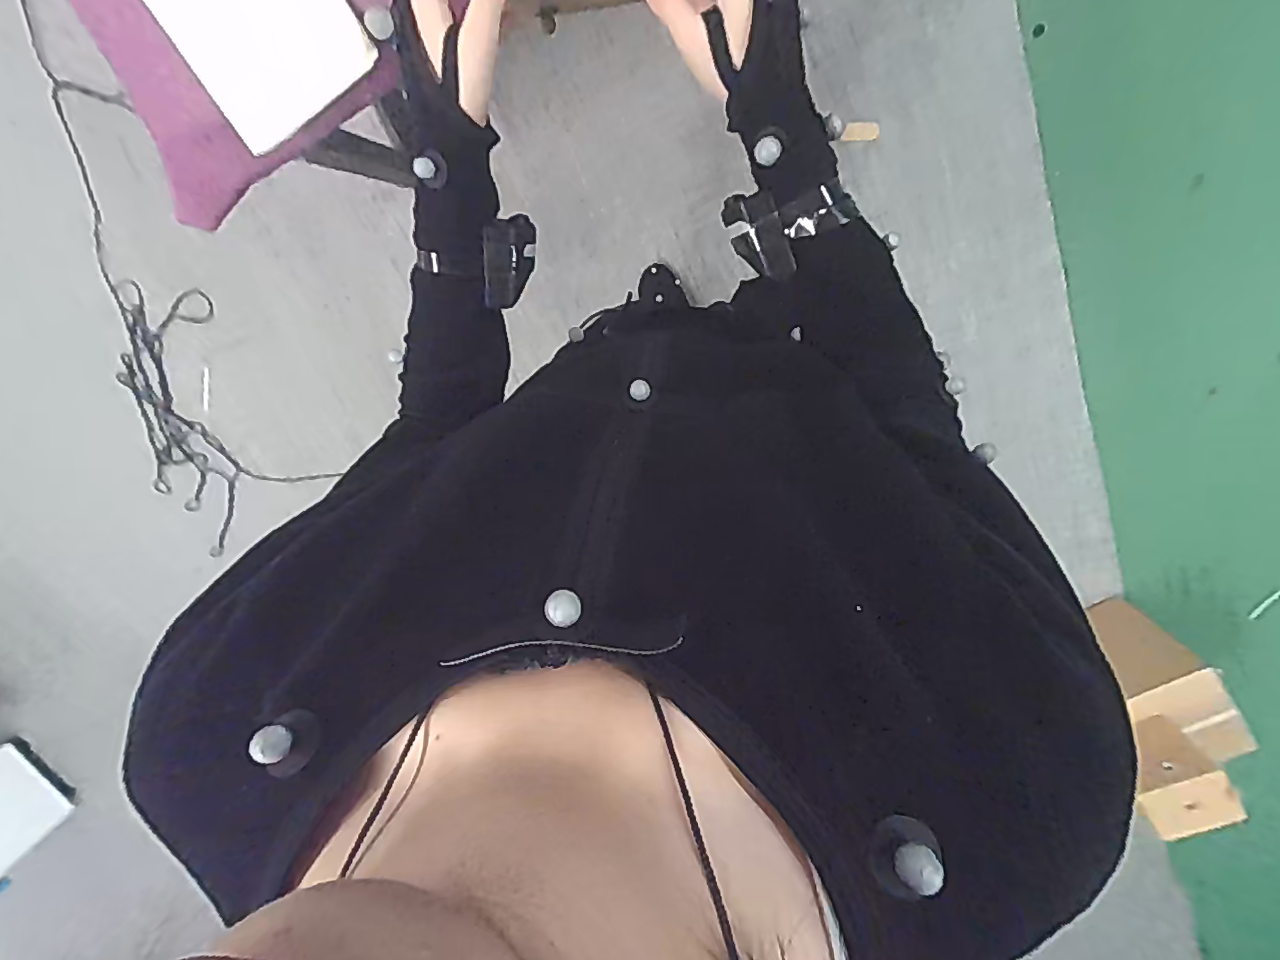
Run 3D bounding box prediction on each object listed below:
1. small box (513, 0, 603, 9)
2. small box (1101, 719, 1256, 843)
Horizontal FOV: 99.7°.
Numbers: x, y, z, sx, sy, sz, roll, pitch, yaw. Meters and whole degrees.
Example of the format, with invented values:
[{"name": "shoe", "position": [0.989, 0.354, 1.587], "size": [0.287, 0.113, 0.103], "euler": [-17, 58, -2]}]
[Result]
[{"name": "small box", "position": [-0.032, -0.408, 0.319], "size": [0.168, 0.176, 0.179], "euler": [-3, 122, 7]}, {"name": "small box", "position": [1.262, 0.705, 1.280], "size": [0.179, 0.176, 0.168], "euler": [-32, 103, 17]}]
